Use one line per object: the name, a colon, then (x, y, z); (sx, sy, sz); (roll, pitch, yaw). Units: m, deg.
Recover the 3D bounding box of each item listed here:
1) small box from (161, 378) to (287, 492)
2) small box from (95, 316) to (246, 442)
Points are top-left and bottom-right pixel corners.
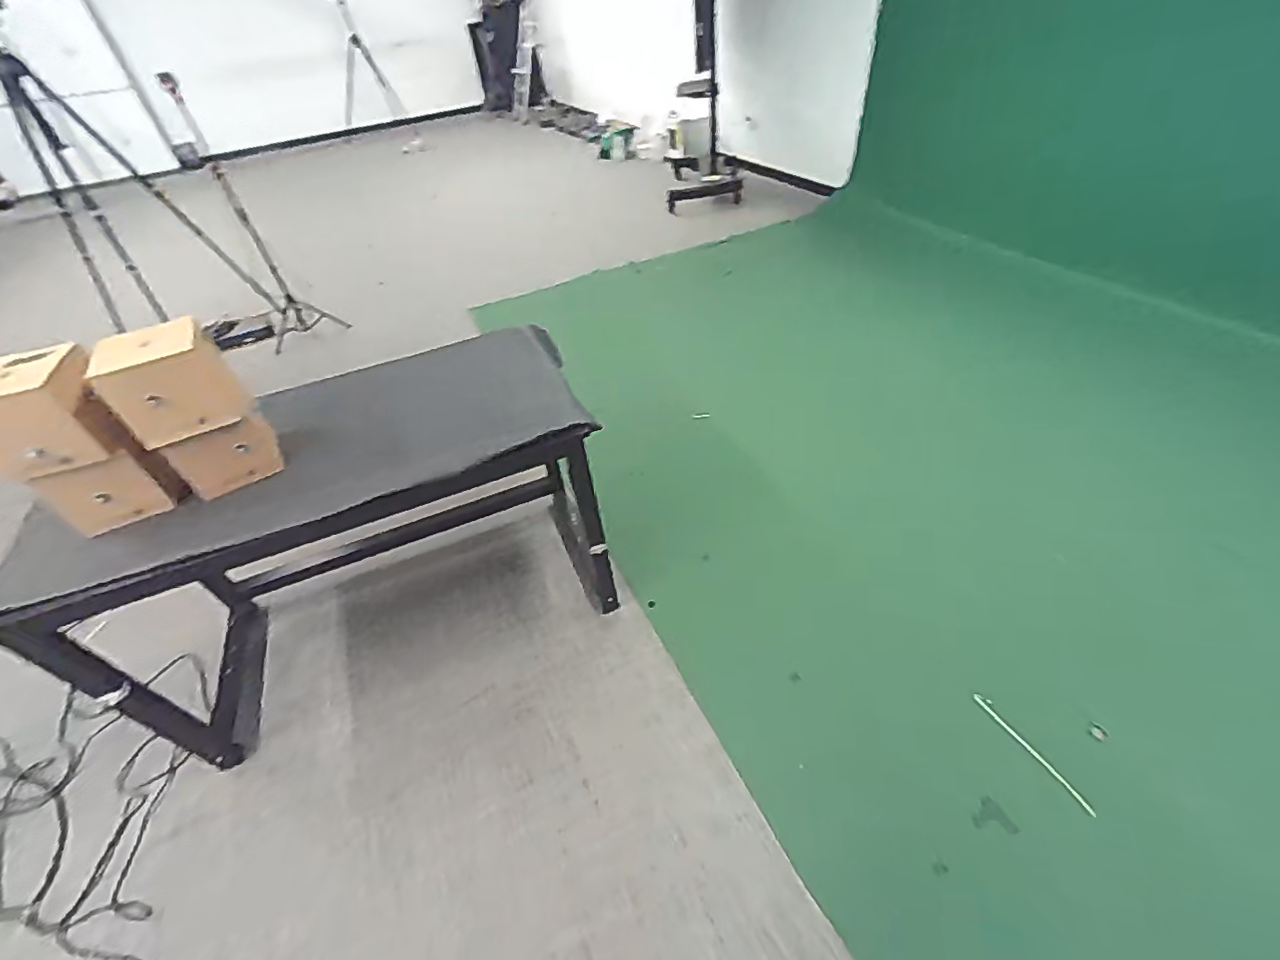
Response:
small box: (-0.920, -0.094, 1.205); (0.168, 0.176, 0.179); (-27, 46, -22)
small box: (-0.918, -0.196, 1.076); (0.168, 0.176, 0.179); (-25, 46, -20)
